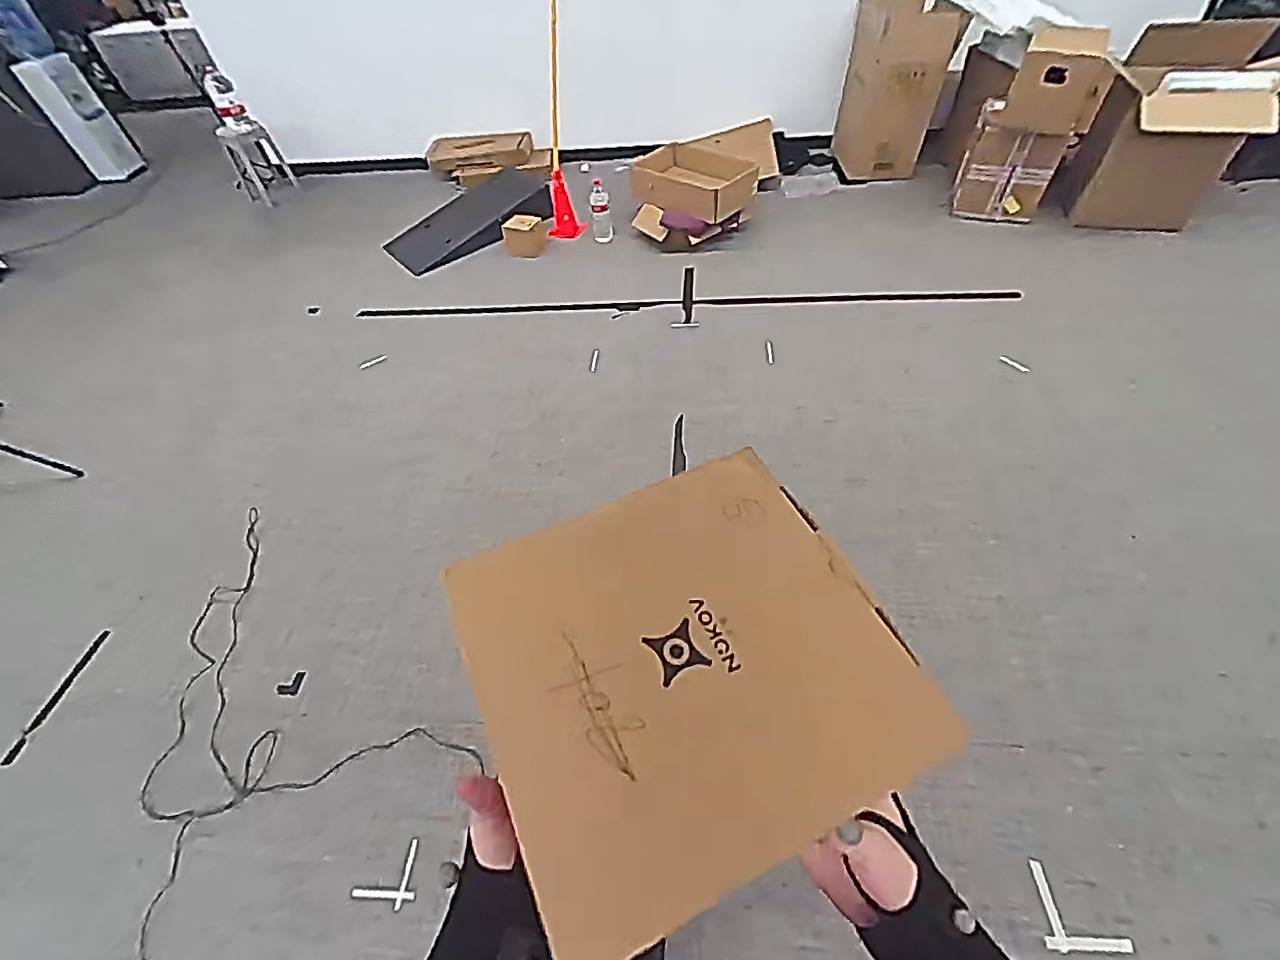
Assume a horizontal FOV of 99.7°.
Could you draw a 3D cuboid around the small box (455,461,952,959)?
[{"bbox_3d":[0.021,0.125,0.311,0.179,0.176,0.168,-24,57,-14],"label":"small box"}]
